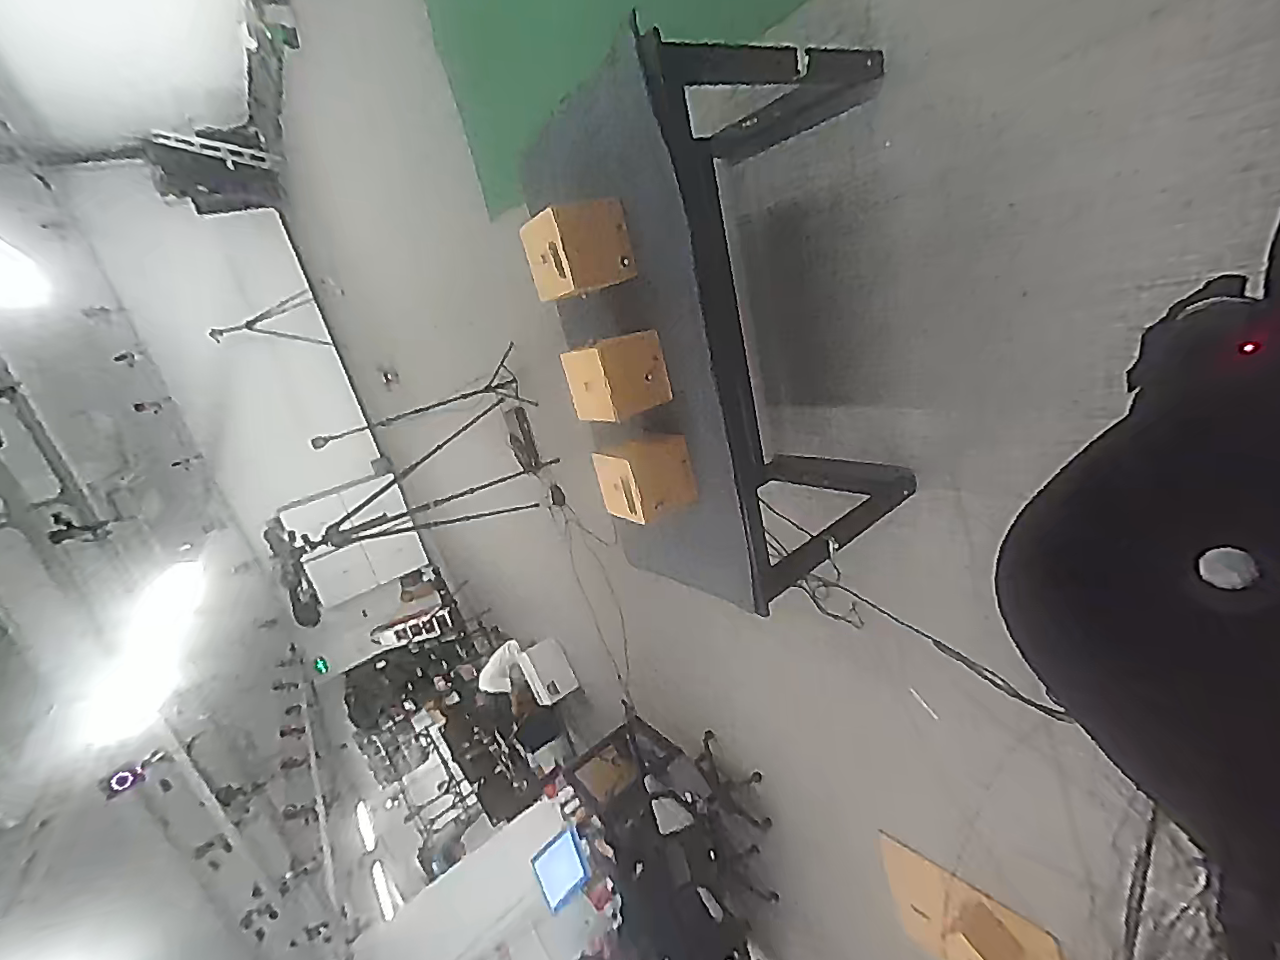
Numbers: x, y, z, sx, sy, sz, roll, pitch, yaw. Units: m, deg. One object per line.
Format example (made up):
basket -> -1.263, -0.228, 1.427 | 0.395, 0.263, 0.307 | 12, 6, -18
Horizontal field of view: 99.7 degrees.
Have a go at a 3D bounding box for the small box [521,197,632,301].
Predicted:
small box -> -0.134, -0.510, 1.199 | 0.179, 0.176, 0.168 | 11, 121, 55

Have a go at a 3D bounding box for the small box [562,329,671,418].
small box -> -0.054, -0.249, 1.271 | 0.179, 0.176, 0.168 | 10, 119, 54
